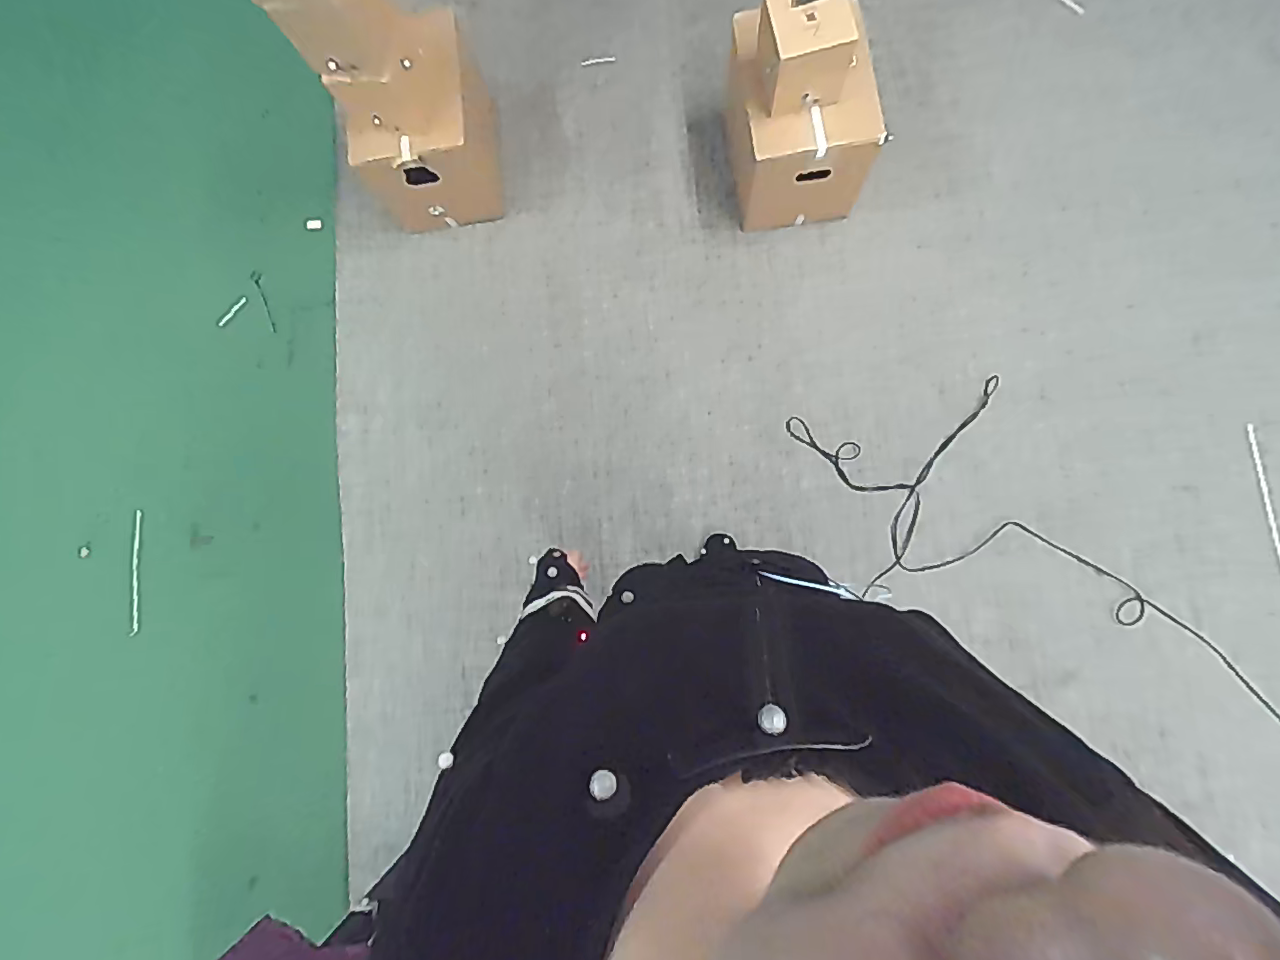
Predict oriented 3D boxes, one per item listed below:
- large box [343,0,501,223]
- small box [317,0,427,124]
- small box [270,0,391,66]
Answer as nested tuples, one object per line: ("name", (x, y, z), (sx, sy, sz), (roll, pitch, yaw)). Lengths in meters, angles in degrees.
("large box", (-0.608, -1.020, 1.536), (0.320, 0.320, 0.408), (-7, 83, 4))
("small box", (-0.629, -0.994, 1.290), (0.168, 0.176, 0.179), (4, 85, 6))
("small box", (-0.648, -1.020, 1.130), (0.168, 0.176, 0.179), (7, 86, 7))
